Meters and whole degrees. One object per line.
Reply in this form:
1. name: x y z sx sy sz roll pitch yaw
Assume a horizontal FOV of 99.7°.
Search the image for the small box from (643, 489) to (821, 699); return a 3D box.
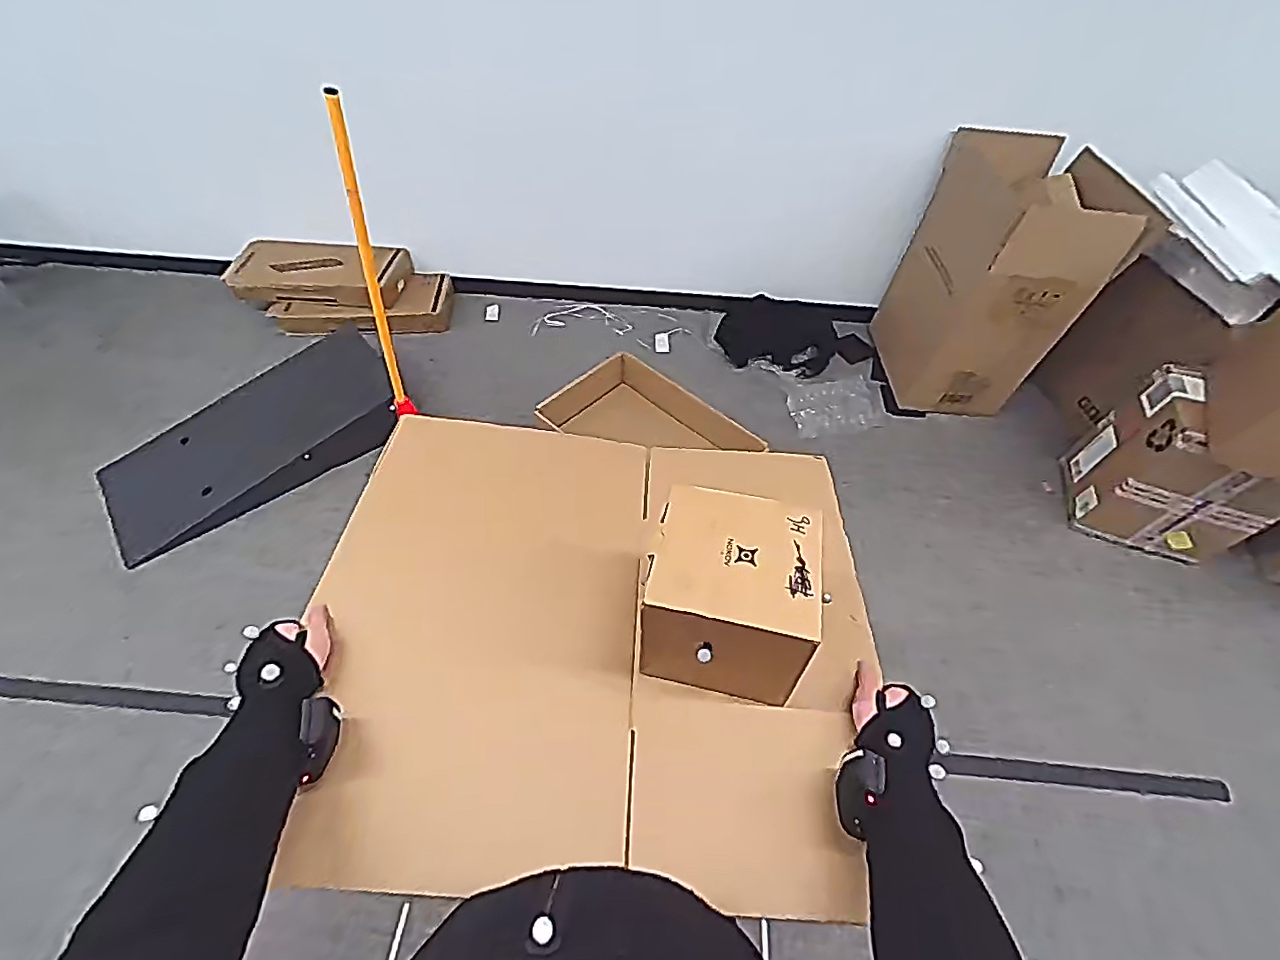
1. small box: 0.106 0.136 0.639 0.179 0.176 0.168 10 48 9
